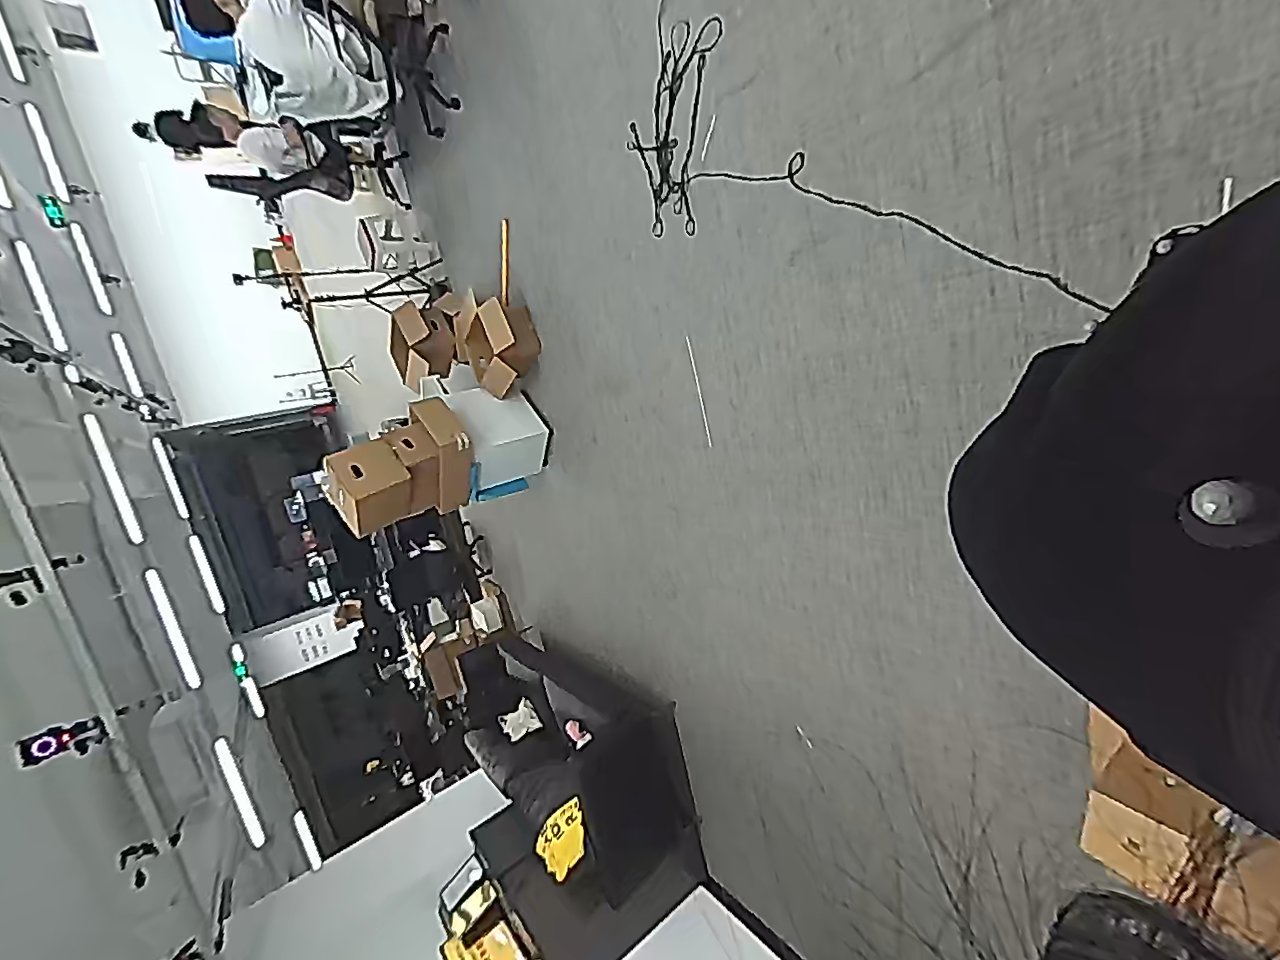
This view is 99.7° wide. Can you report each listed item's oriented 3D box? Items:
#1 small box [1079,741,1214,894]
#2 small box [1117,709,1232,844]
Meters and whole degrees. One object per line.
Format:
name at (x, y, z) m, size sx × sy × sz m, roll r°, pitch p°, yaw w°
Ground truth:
small box at (1.075, 0.704, 1.148) m, size 0.168 × 0.176 × 0.179 m, roll 17°, pitch 120°, yaw 51°
small box at (1.208, 0.662, 1.234) m, size 0.168 × 0.176 × 0.179 m, roll 14°, pitch 118°, yaw 53°
